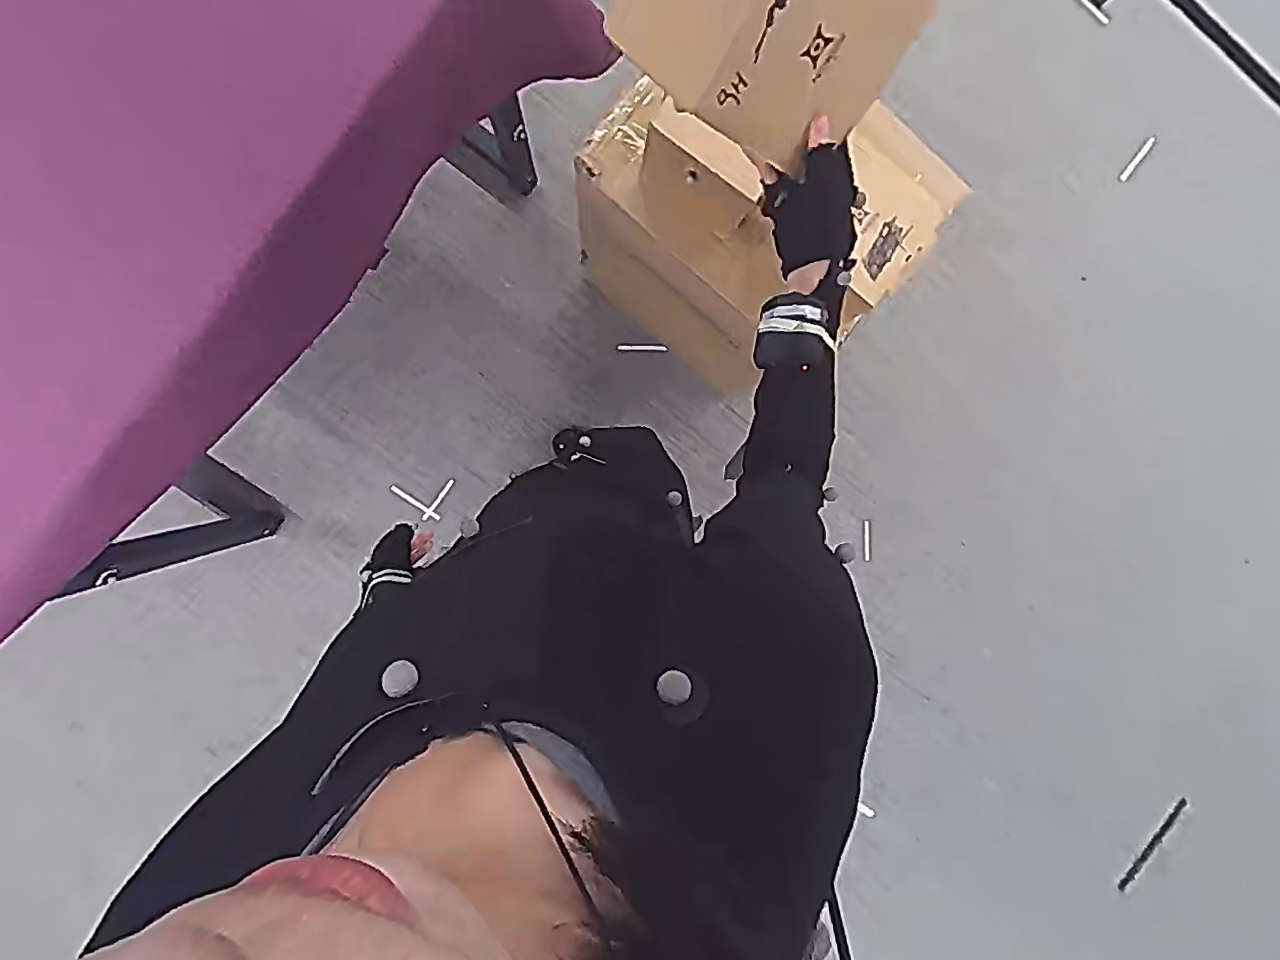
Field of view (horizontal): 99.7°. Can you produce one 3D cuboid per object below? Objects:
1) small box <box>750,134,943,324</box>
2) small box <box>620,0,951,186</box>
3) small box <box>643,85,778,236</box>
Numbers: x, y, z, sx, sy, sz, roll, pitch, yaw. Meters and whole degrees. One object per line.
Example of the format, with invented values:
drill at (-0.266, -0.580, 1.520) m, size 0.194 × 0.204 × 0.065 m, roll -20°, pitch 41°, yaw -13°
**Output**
small box at (0.295, -0.355, 0.810) m, size 0.179 × 0.176 × 0.168 m, roll 38°, pitch 90°, yaw -4°
small box at (0.115, -0.400, 0.466) m, size 0.168 × 0.179 × 0.176 m, roll -52°, pitch 55°, yaw 35°
small box at (0.118, -0.492, 0.789) m, size 0.179 × 0.176 × 0.168 m, roll 33°, pitch 92°, yaw -7°
